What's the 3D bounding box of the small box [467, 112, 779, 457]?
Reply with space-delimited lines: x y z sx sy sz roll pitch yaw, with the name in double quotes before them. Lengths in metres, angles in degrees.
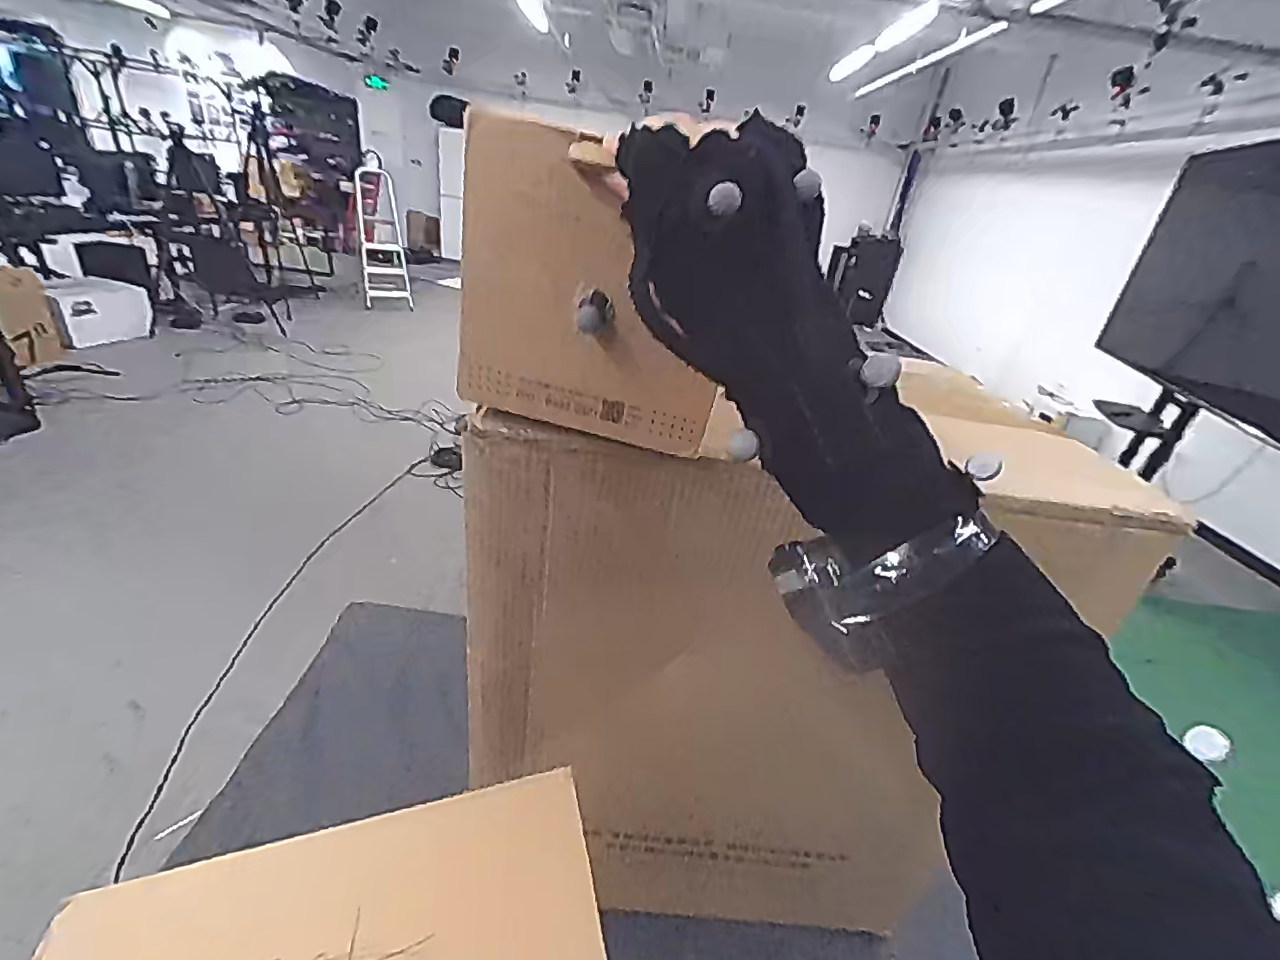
"small box" -0.009 -0.137 0.384 0.168 0.176 0.179 17 31 3
